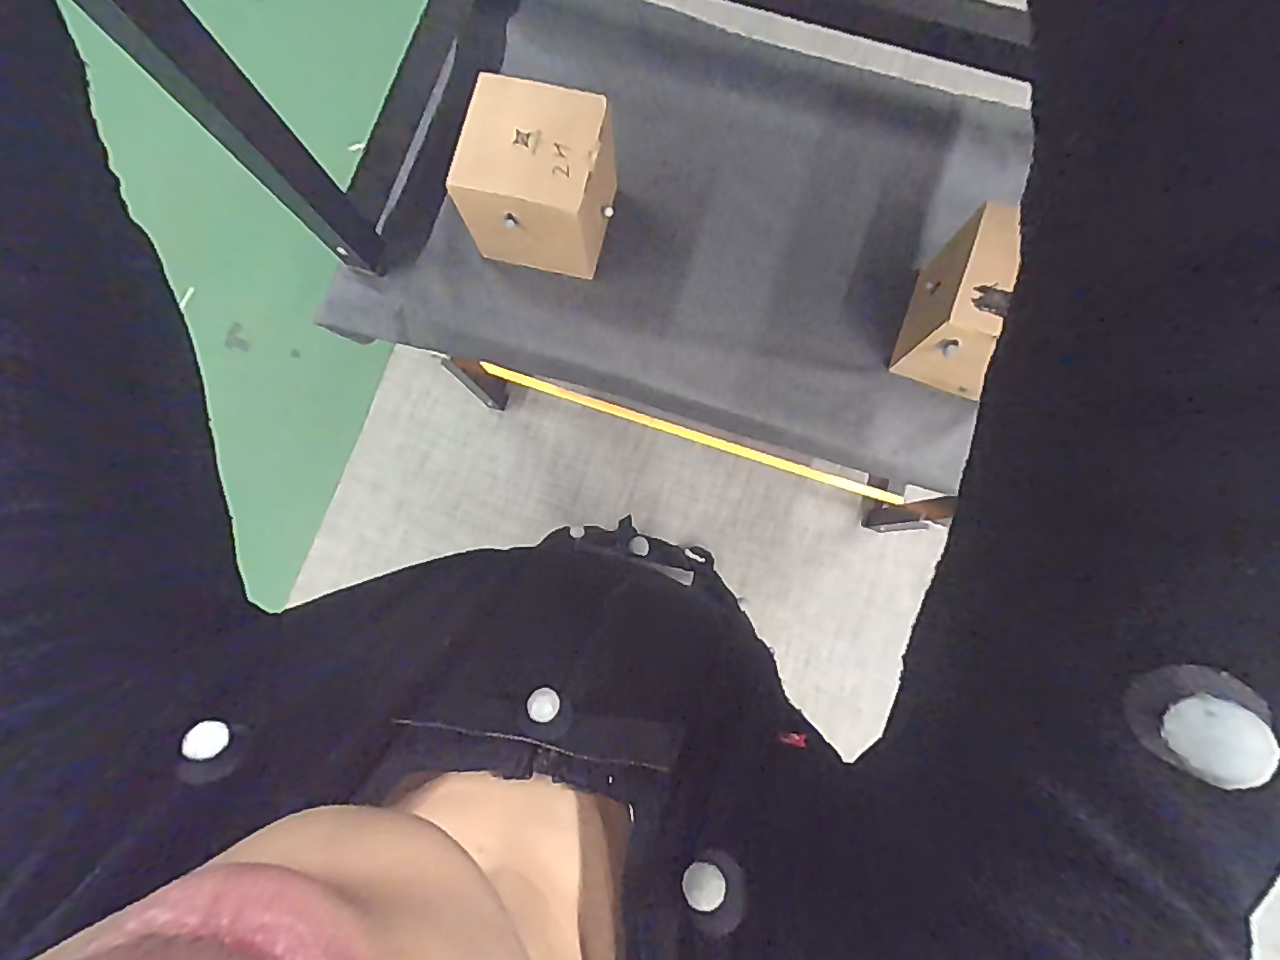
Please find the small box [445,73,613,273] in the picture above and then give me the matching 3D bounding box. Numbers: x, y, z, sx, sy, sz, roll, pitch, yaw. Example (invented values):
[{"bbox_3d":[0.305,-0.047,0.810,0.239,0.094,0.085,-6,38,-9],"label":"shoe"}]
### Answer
[{"bbox_3d":[-0.143,-0.419,0.764,0.179,0.176,0.168,13,83,2],"label":"small box"}]
